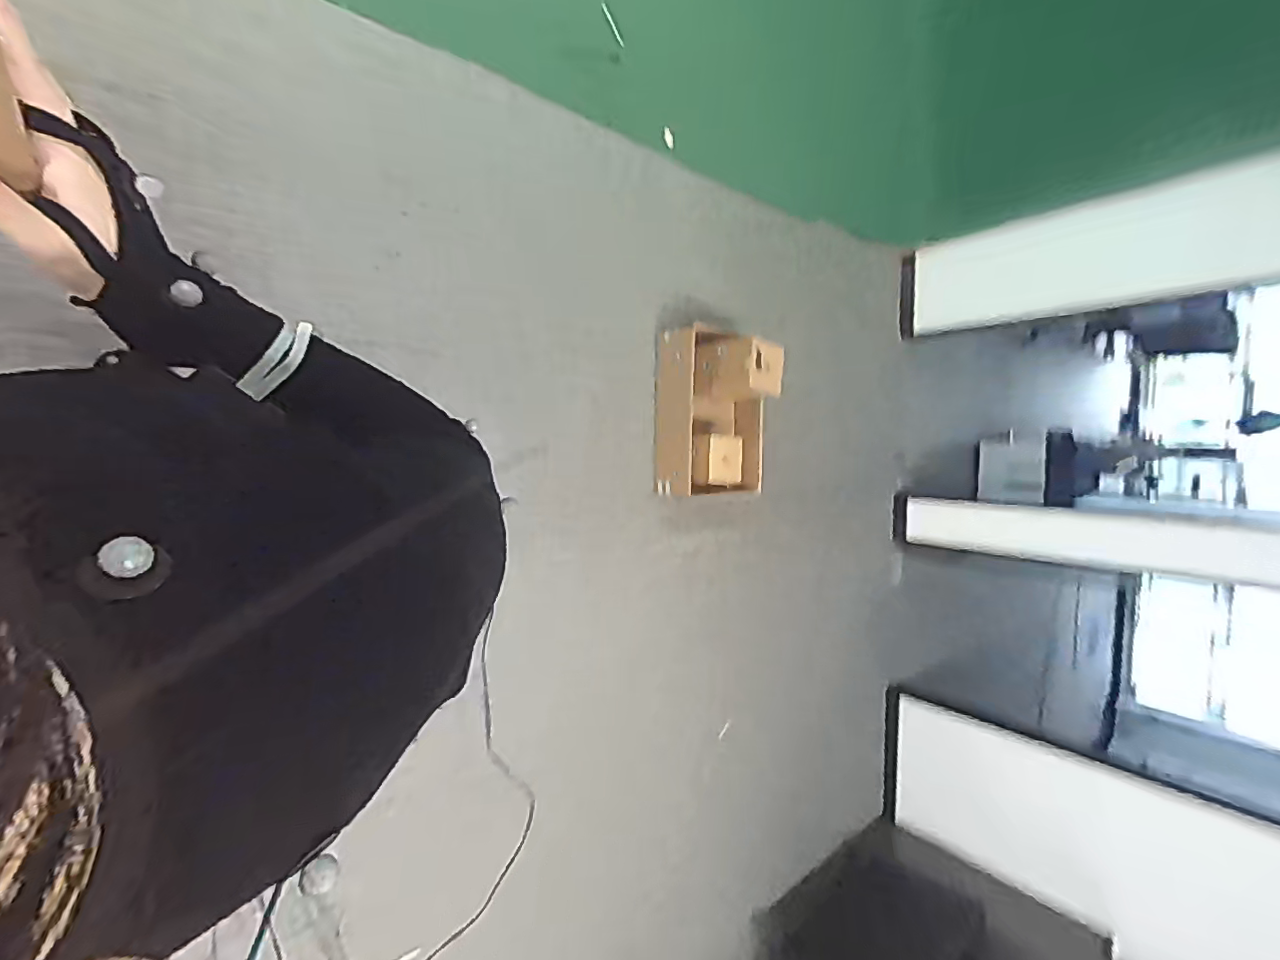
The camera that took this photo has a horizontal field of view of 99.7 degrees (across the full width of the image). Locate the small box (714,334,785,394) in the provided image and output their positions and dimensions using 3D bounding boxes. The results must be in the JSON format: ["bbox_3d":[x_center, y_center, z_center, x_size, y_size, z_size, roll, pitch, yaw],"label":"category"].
[{"bbox_3d":[0.376,-0.396,1.877,0.179,0.176,0.168,5,91,-41],"label":"small box"}]
